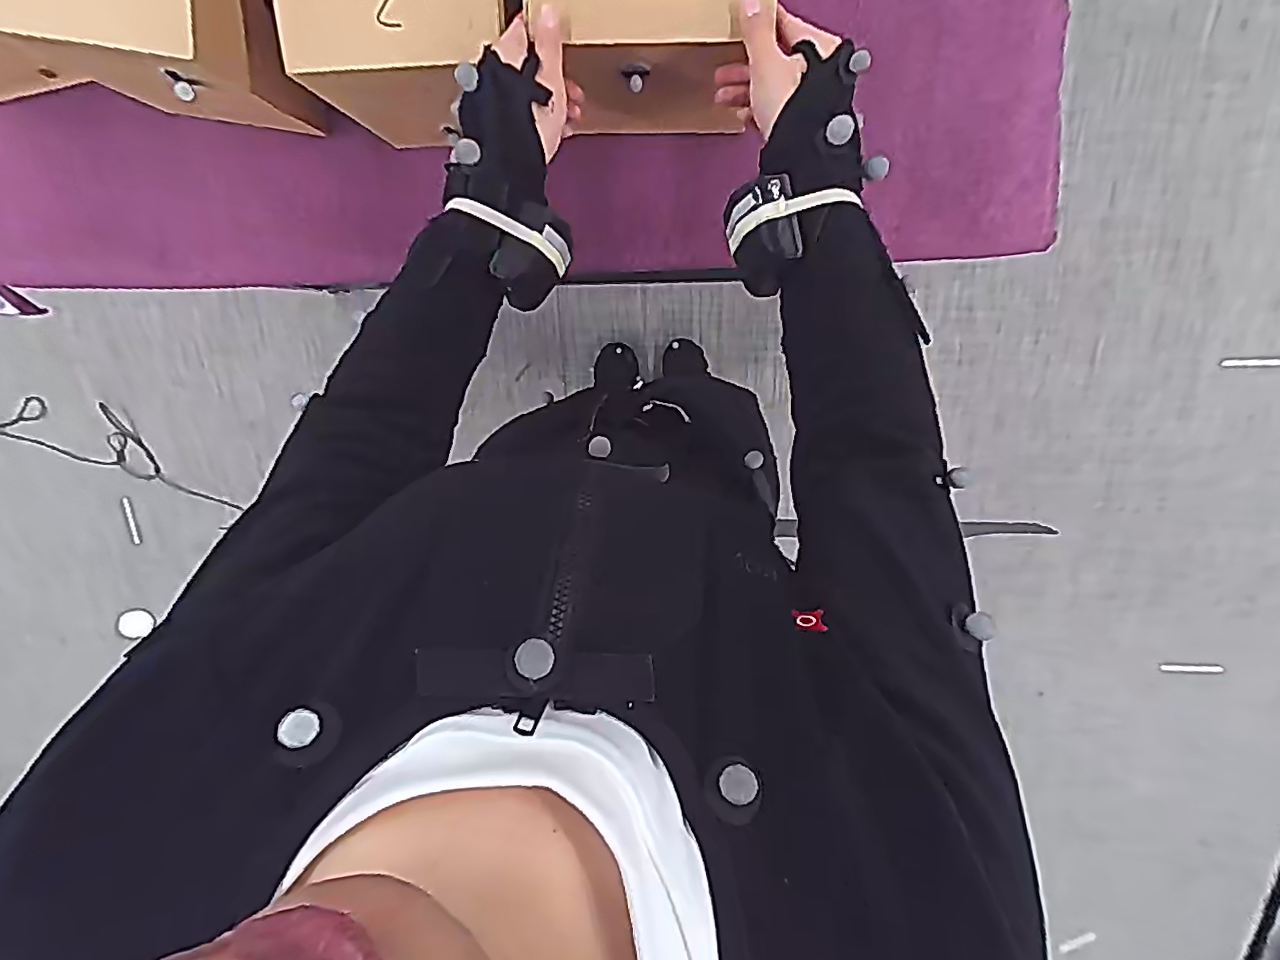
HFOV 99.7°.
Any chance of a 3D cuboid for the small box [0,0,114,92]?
[{"bbox_3d":[-0.626,-0.467,0.465,0.168,0.176,0.179,-8,106,6],"label":"small box"}]
